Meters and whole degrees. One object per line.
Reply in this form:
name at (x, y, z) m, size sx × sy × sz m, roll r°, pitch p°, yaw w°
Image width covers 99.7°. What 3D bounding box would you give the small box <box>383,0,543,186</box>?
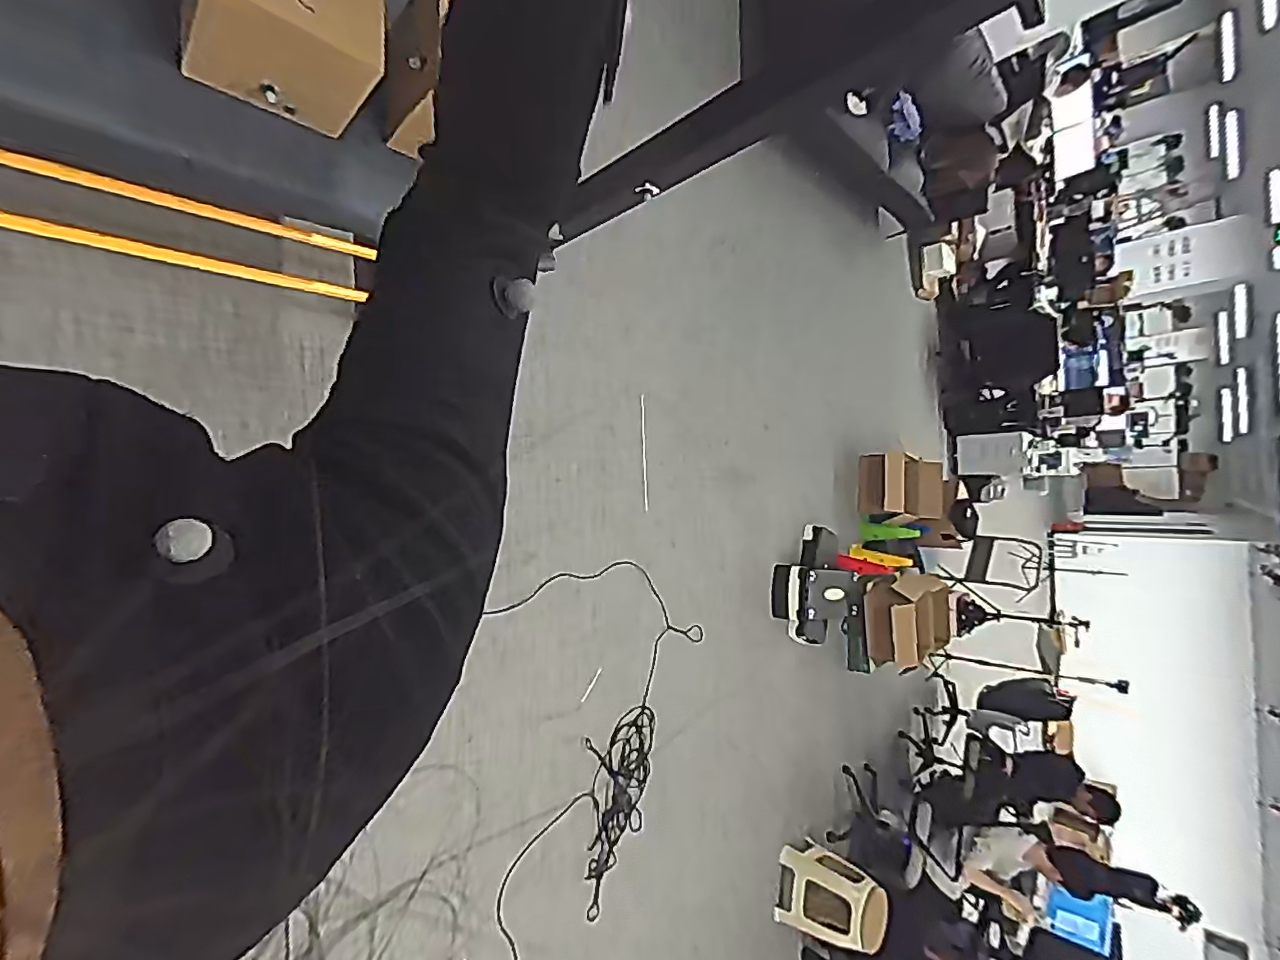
small box at (-0.260, -0.571, 0.789) m, size 0.168 × 0.176 × 0.179 m, roll 4°, pitch 85°, yaw -46°
